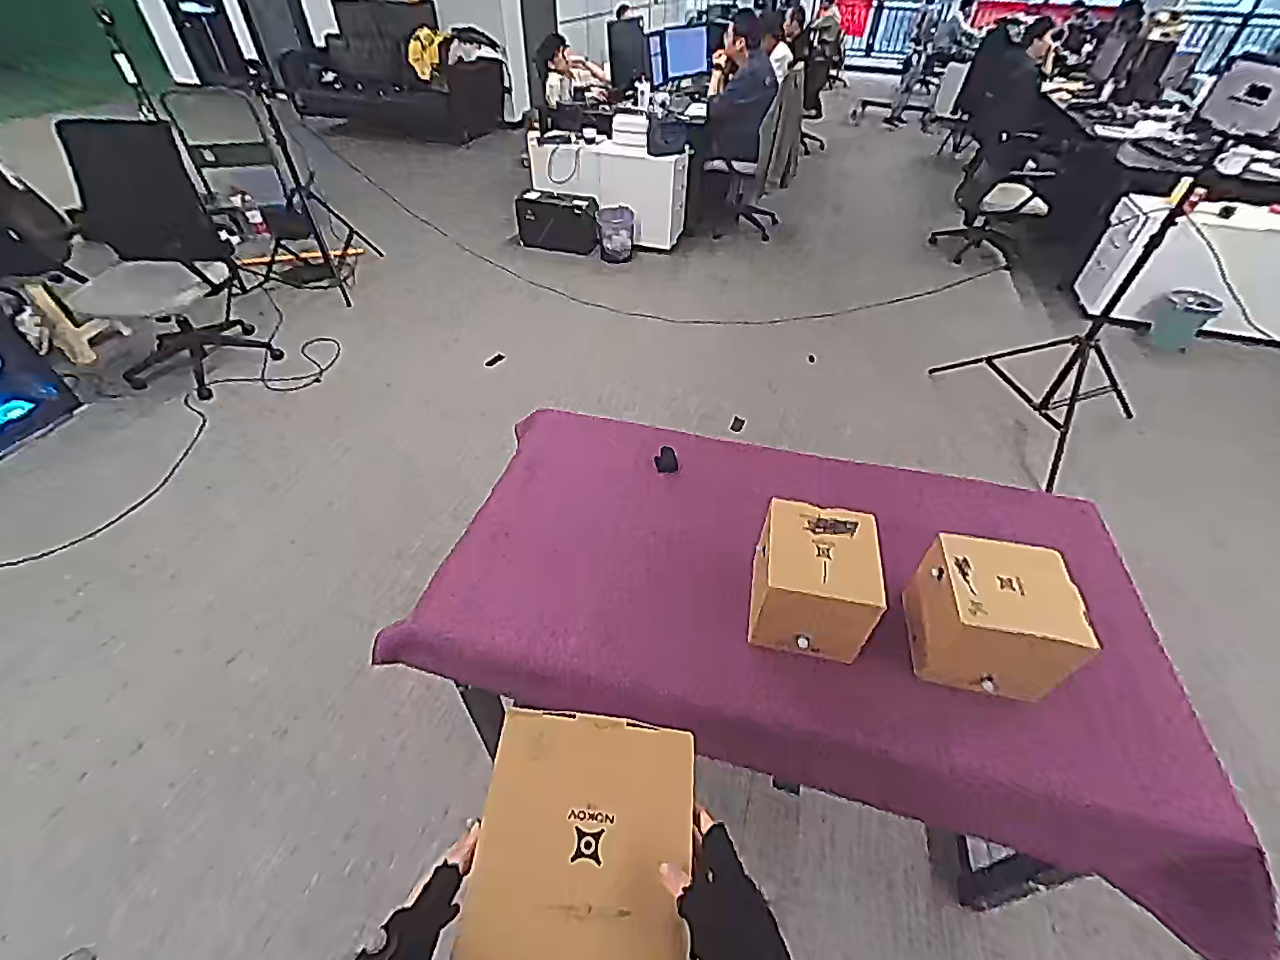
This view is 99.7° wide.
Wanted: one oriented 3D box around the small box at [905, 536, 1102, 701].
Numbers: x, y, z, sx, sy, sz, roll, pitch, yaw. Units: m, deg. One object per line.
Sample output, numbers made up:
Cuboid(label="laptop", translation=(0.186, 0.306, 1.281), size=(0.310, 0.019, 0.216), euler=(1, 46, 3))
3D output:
Cuboid(label="small box", translation=(0.532, 0.214, 0.823), size=(0.179, 0.176, 0.168), euler=(10, 44, 8))

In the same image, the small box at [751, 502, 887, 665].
Cuboid(label="small box", translation=(0.276, 0.165, 0.866), size=(0.168, 0.176, 0.179), euler=(9, 45, 8))

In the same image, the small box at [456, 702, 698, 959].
Cuboid(label="small box", translation=(-0.051, 0.316, 0.472), size=(0.168, 0.176, 0.179), euler=(9, 52, -6))
